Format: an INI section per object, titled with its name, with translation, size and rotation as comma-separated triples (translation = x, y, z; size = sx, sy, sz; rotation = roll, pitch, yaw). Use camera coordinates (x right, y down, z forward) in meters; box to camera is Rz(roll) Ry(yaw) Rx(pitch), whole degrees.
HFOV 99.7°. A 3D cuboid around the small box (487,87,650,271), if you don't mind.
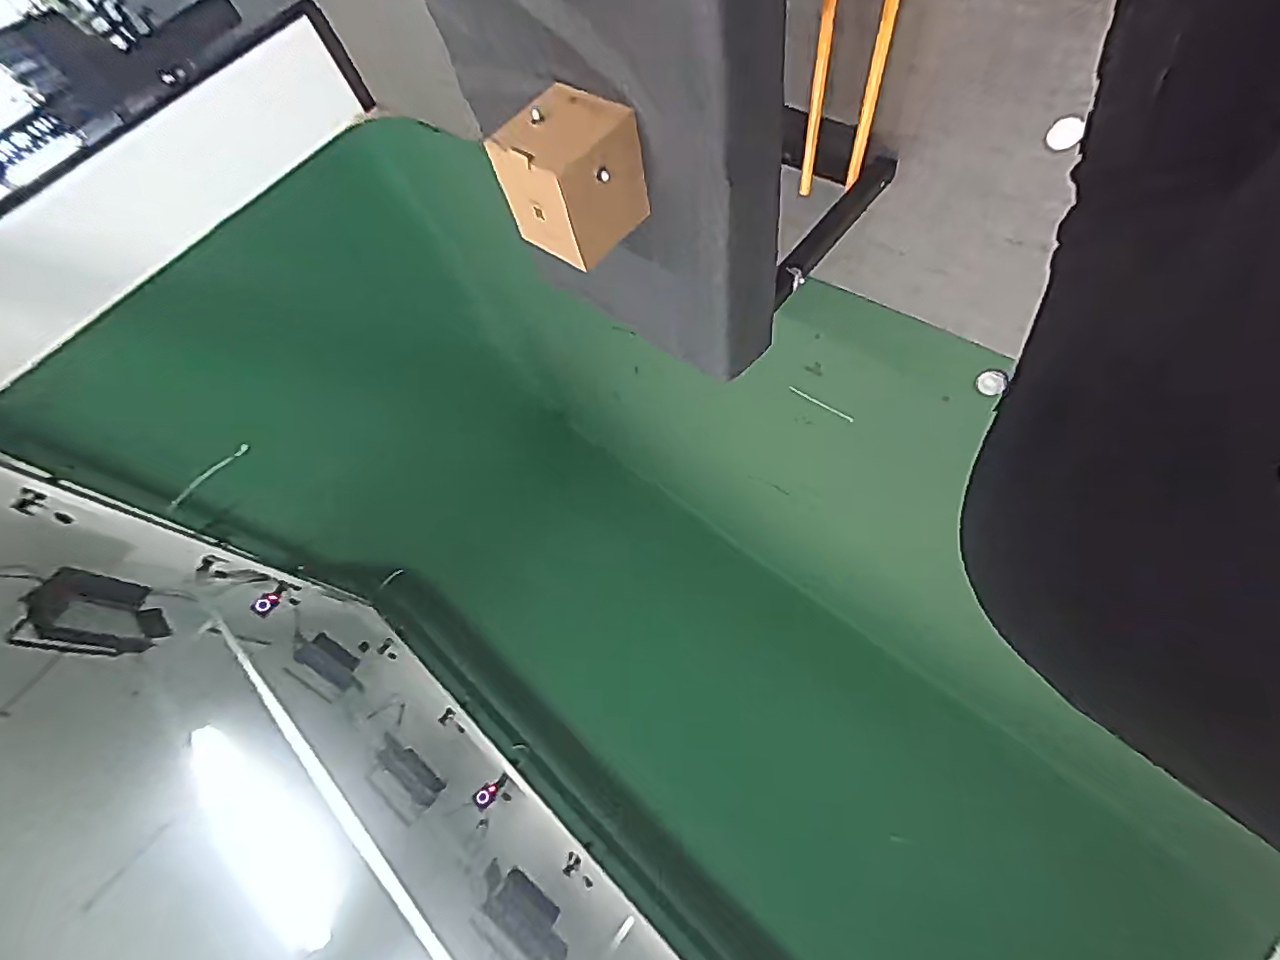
[small box]
translation = -0.104, -0.483, 0.866
size = 0.168, 0.176, 0.179
rotation = 37, 166, 24
